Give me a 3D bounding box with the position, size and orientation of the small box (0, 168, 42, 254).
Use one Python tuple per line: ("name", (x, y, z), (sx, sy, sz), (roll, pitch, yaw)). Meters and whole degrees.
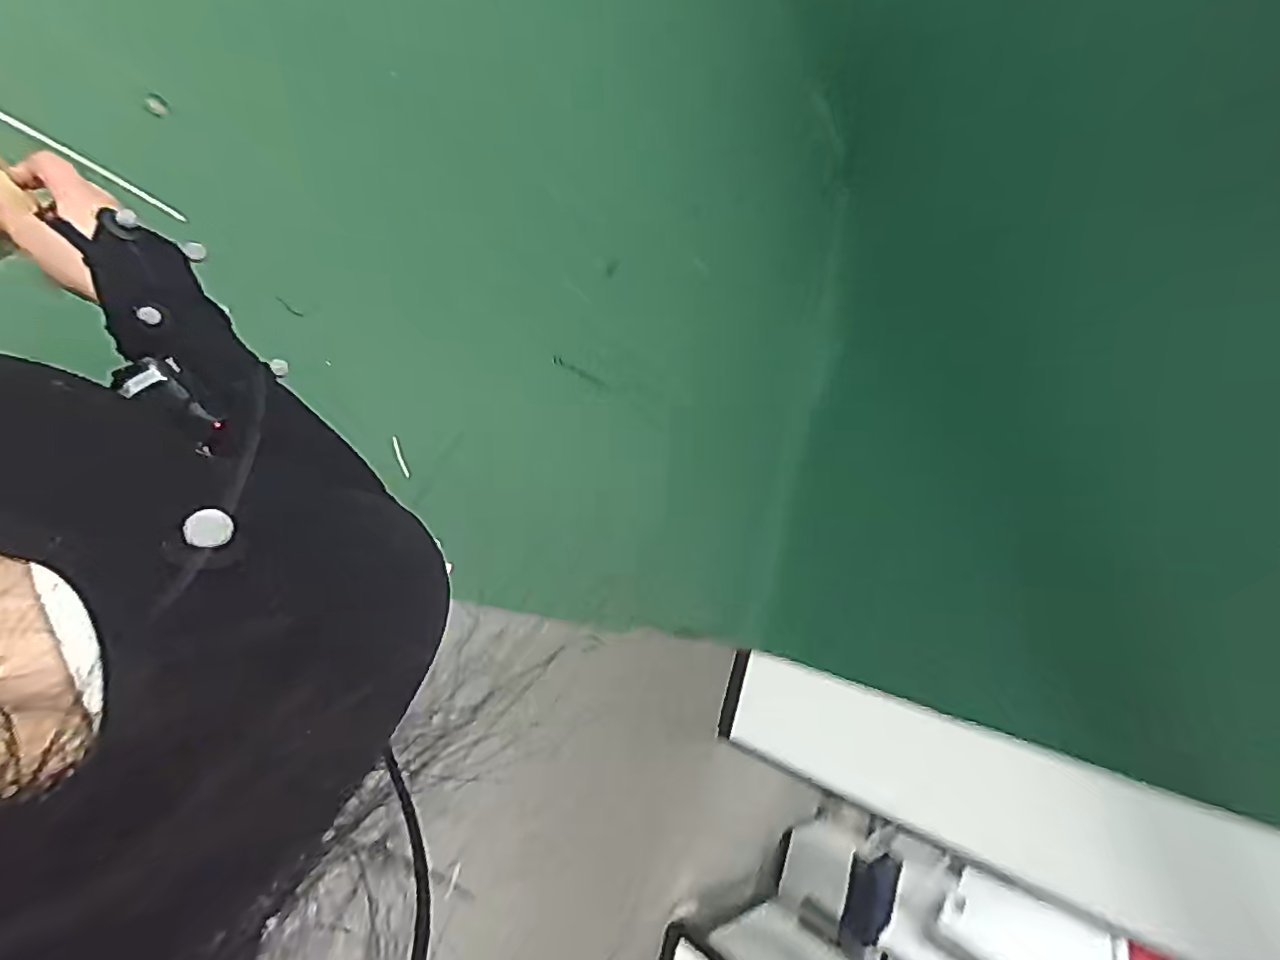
("small box", (-0.583, -0.215, 0.373), (0.179, 0.176, 0.168), (-47, 132, -20))
